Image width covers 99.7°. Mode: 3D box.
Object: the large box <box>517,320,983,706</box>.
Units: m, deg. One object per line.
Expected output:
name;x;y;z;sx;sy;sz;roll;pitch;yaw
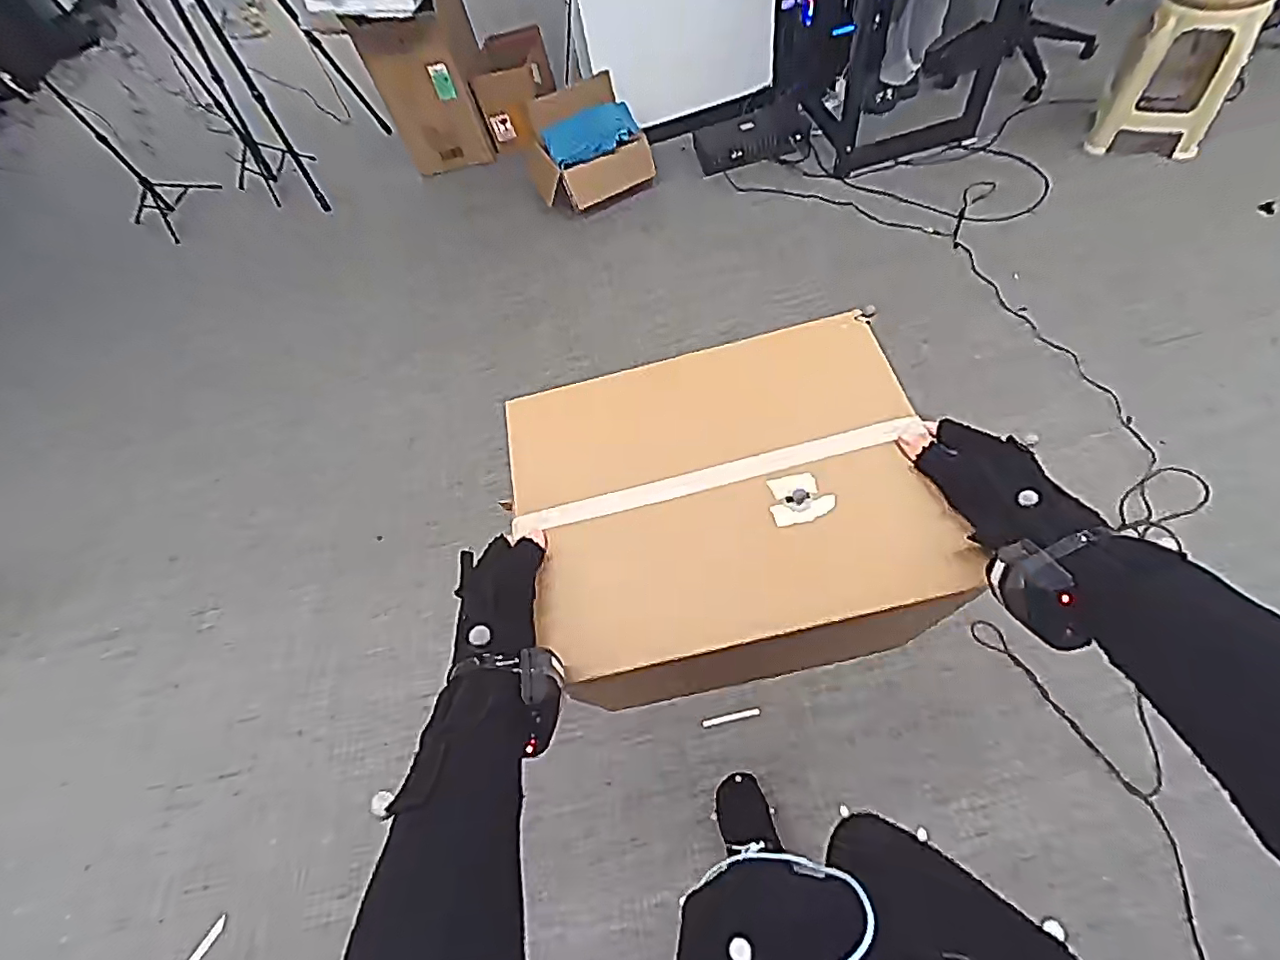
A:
large box;0.099;0.065;0.676;0.408;0.320;0.320;-14;63;2
